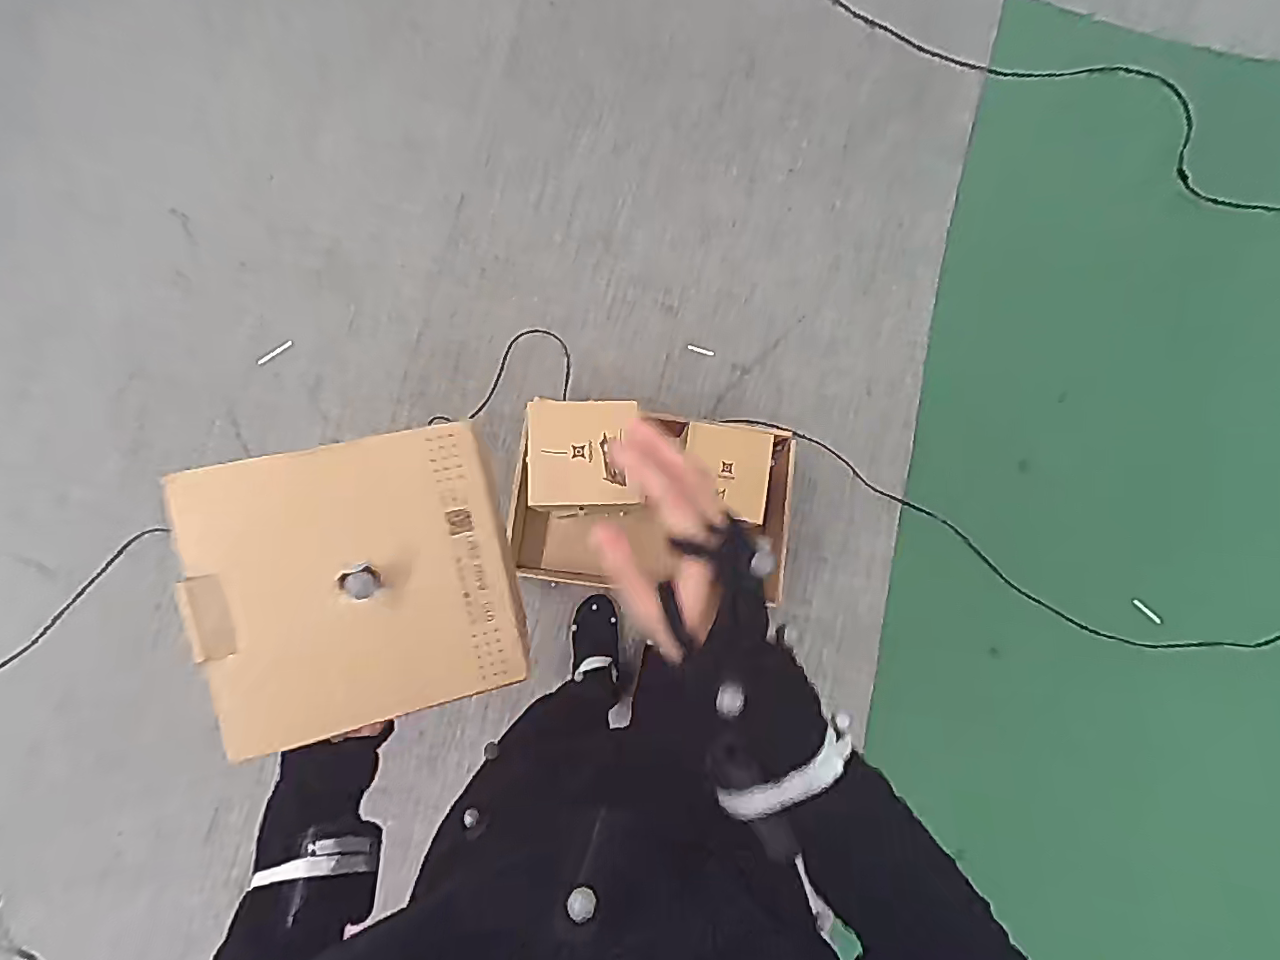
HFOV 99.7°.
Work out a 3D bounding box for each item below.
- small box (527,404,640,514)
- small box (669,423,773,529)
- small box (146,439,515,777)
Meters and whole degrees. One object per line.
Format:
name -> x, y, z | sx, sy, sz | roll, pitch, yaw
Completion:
small box -> -0.094, -0.030, 0.923 | 0.179, 0.176, 0.168 | -1, 84, -4
small box -> 0.156, -0.001, 1.095 | 0.168, 0.176, 0.179 | 10, 83, -1
small box -> -0.190, 0.070, 0.393 | 0.176, 0.179, 0.168 | -12, 91, -13
